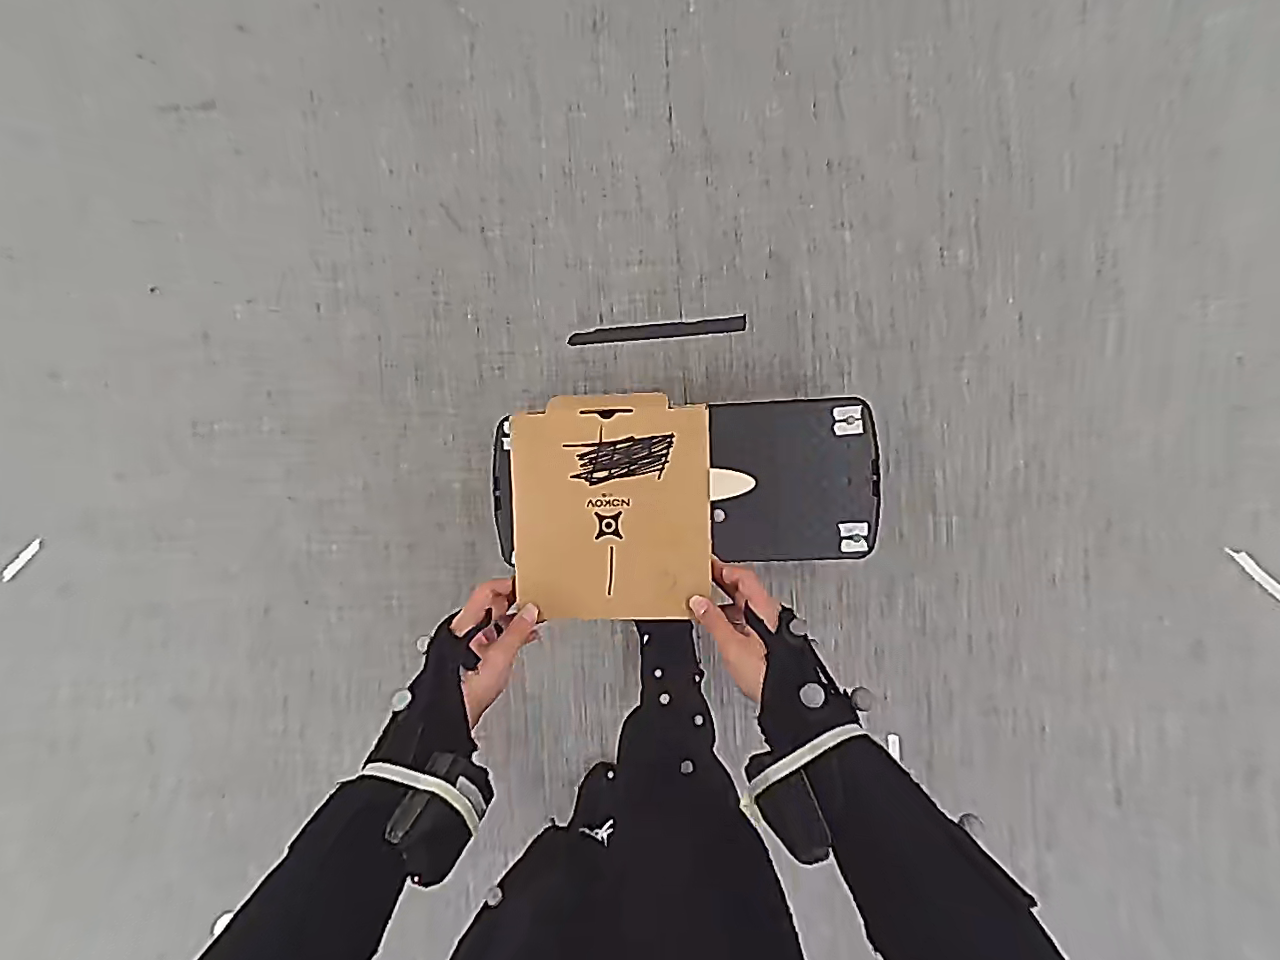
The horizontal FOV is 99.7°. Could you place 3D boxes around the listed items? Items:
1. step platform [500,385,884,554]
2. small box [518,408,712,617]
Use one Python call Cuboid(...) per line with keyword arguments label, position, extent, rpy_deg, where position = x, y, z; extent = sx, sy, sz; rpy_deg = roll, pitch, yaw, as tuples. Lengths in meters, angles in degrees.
Cuboid(label="step platform", position=(0.087, -0.011, 1.017), extent=(0.684, 0.204, 0.286), rpy_deg=(-3, 91, 5))
Cuboid(label="small box", position=(-0.016, 0.029, 0.534), extent=(0.168, 0.176, 0.179), rpy_deg=(-1, 90, 6))
